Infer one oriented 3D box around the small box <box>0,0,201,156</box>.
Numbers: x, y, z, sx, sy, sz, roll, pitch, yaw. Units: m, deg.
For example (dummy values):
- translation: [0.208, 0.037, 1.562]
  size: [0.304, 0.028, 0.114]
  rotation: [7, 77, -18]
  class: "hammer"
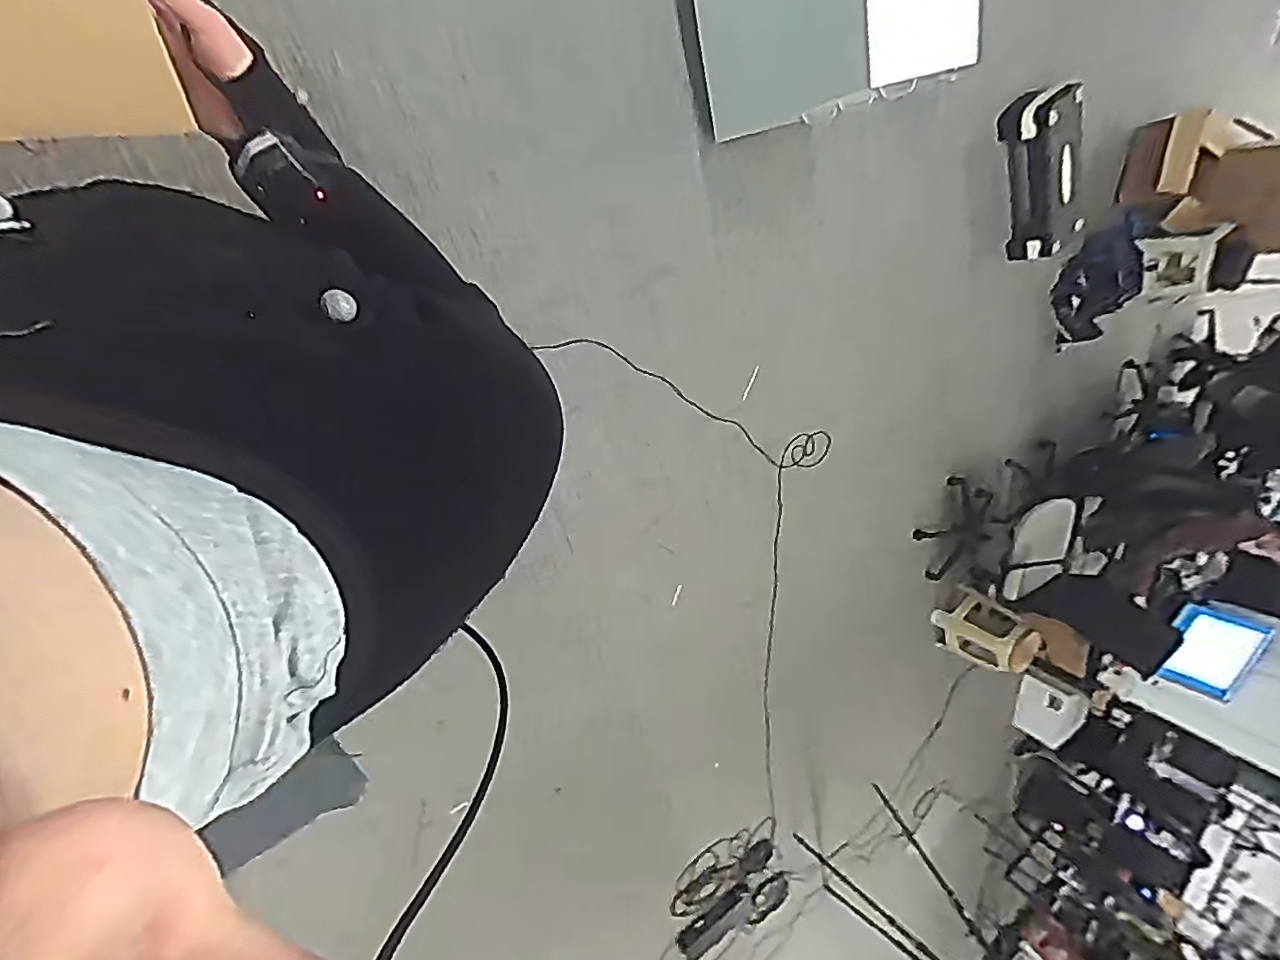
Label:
- translation: [-0.410, -0.305, 0.321]
  size: [0.179, 0.176, 0.168]
  rotation: [-25, 141, -29]
  class: "small box"
